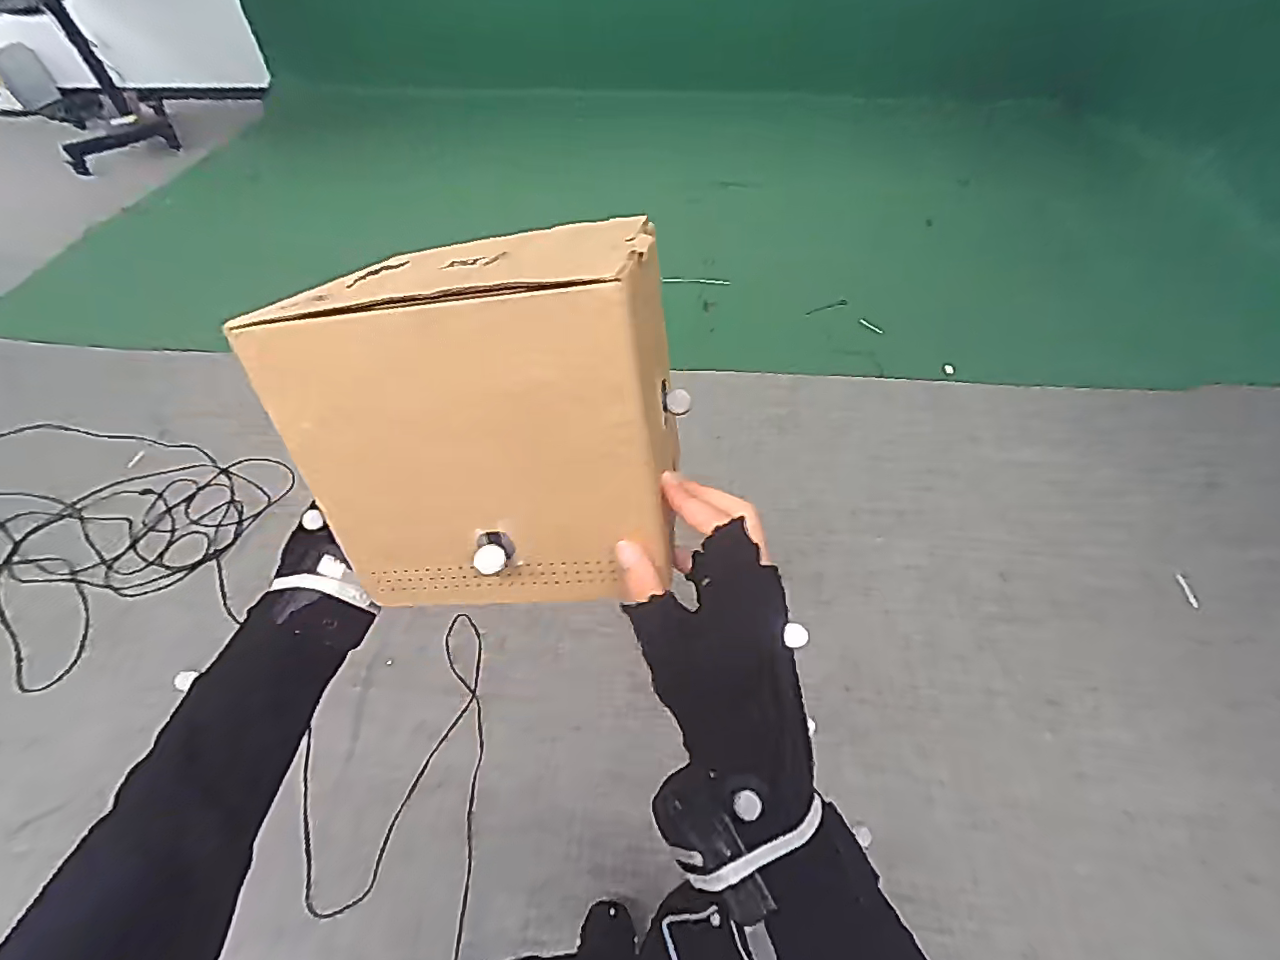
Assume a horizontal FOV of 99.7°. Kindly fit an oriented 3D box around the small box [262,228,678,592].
[{"bbox_3d":[-0.068,-0.046,0.338,0.179,0.176,0.168,-4,31,7],"label":"small box"}]
